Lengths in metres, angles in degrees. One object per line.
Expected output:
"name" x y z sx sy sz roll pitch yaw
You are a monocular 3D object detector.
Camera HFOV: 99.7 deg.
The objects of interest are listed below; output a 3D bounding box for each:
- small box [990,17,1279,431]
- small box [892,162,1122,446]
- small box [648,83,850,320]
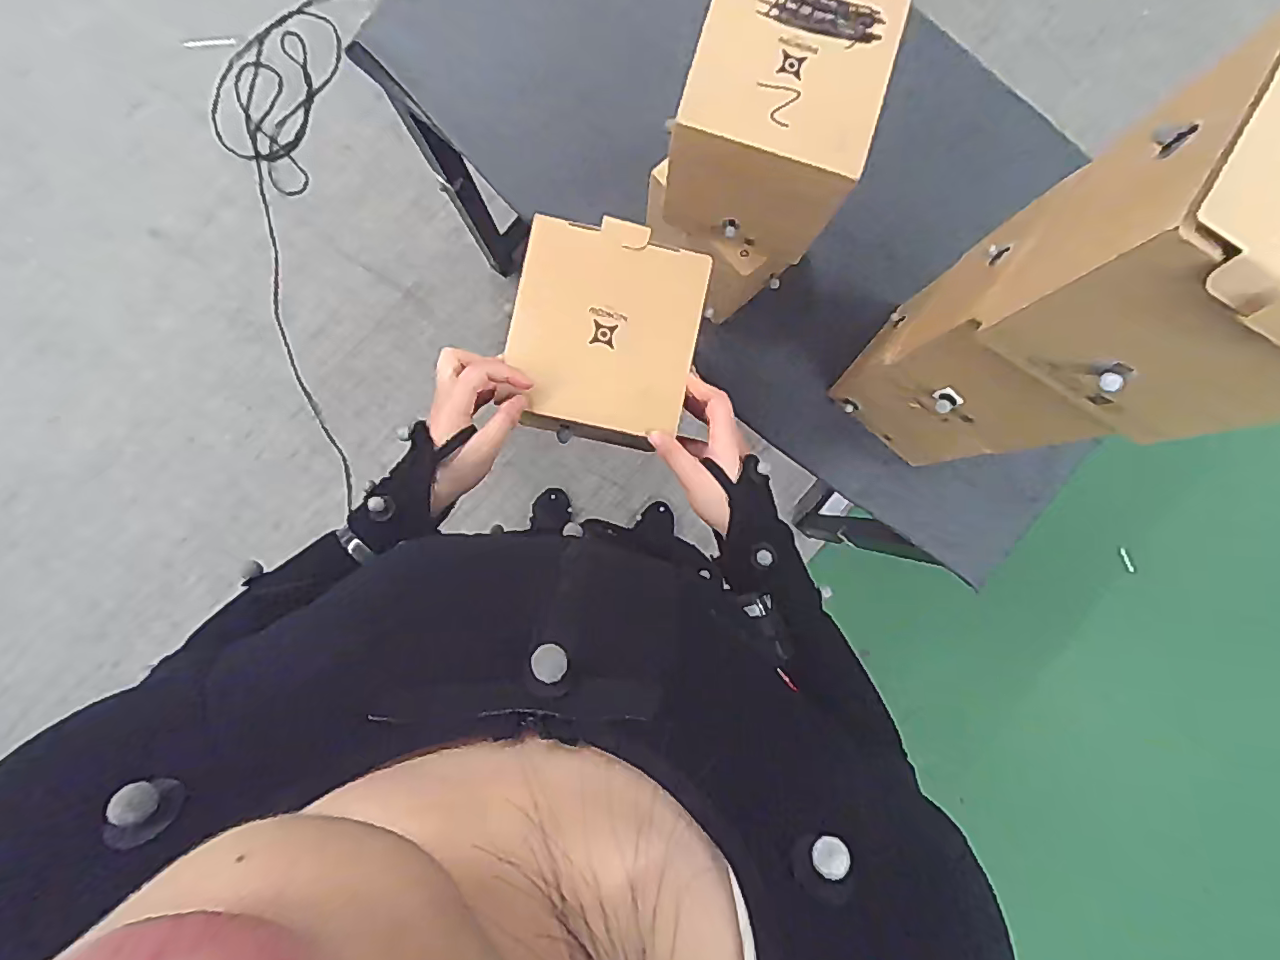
"small box" 0.393 -0.157 0.373 0.168 0.176 0.179 34 85 2
"small box" 0.391 -0.155 0.538 0.168 0.176 0.179 37 87 2
"small box" 0.125 -0.345 0.702 0.179 0.176 0.168 -41 89 -4
